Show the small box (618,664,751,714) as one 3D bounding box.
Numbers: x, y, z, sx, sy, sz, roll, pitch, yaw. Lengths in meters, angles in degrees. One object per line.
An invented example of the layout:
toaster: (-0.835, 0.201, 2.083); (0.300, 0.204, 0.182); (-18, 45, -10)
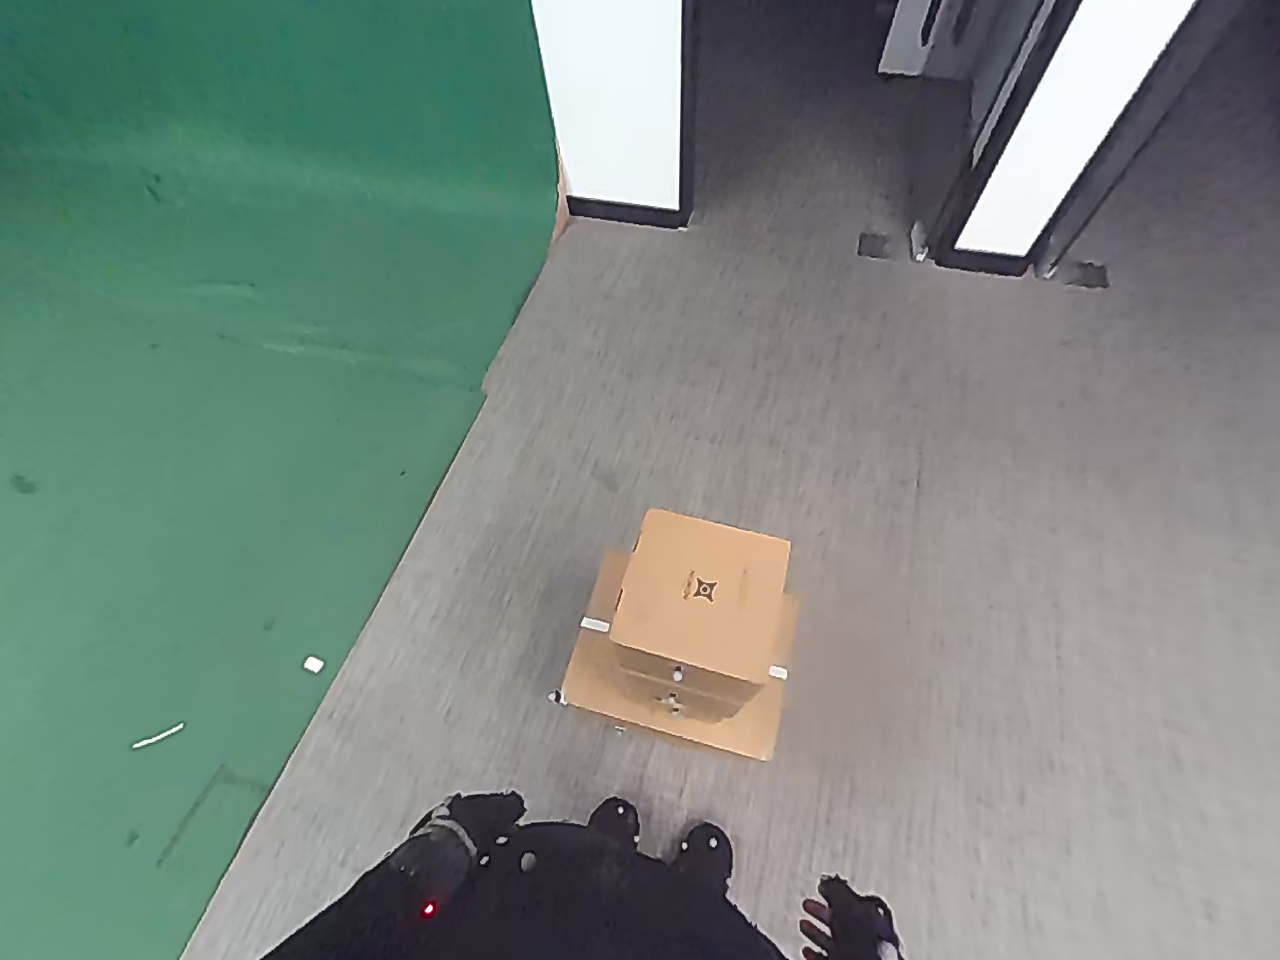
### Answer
small box: (0.075, 0.245, 0.812); (0.179, 0.176, 0.168); (10, 63, 8)

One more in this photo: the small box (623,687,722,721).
small box: (0.078, 0.317, 0.960); (0.168, 0.176, 0.179); (11, 63, 10)

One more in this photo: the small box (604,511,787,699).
small box: (0.069, 0.162, 0.673); (0.179, 0.176, 0.168); (13, 64, 10)
